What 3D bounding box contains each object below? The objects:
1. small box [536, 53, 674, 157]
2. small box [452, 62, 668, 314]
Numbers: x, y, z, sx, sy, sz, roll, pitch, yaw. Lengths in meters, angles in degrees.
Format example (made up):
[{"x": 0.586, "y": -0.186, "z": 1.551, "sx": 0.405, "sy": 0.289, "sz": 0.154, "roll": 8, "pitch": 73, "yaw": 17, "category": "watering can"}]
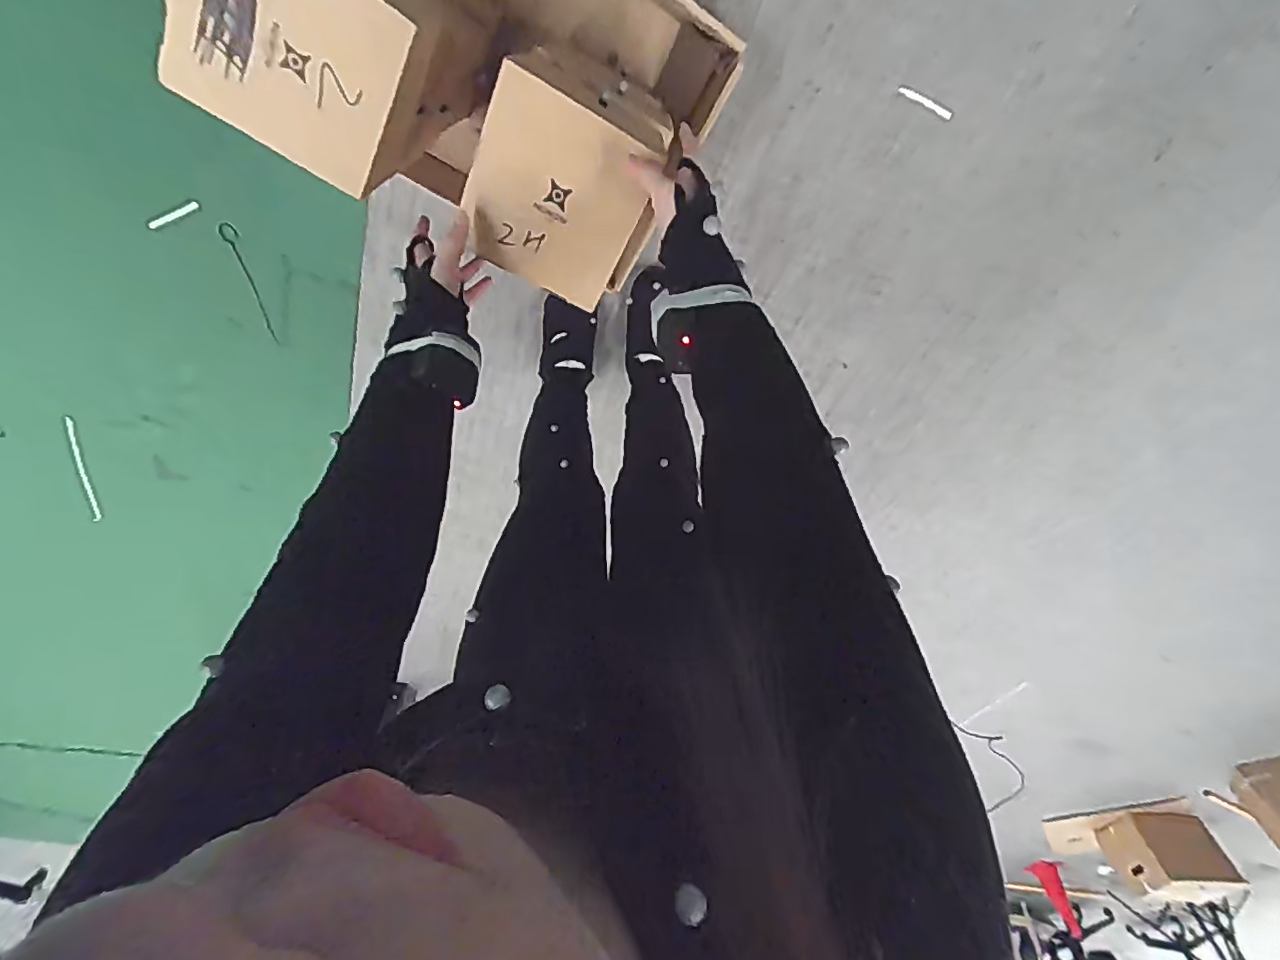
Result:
[{"x": -0.070, "y": -0.437, "z": 0.723, "sx": 0.179, "sy": 0.176, "sz": 0.168, "roll": 23, "pitch": 126, "yaw": -16, "category": "small box"}, {"x": -0.084, "y": -0.326, "z": 0.601, "sx": 0.168, "sy": 0.176, "sz": 0.179, "roll": 24, "pitch": 126, "yaw": -17, "category": "small box"}]
